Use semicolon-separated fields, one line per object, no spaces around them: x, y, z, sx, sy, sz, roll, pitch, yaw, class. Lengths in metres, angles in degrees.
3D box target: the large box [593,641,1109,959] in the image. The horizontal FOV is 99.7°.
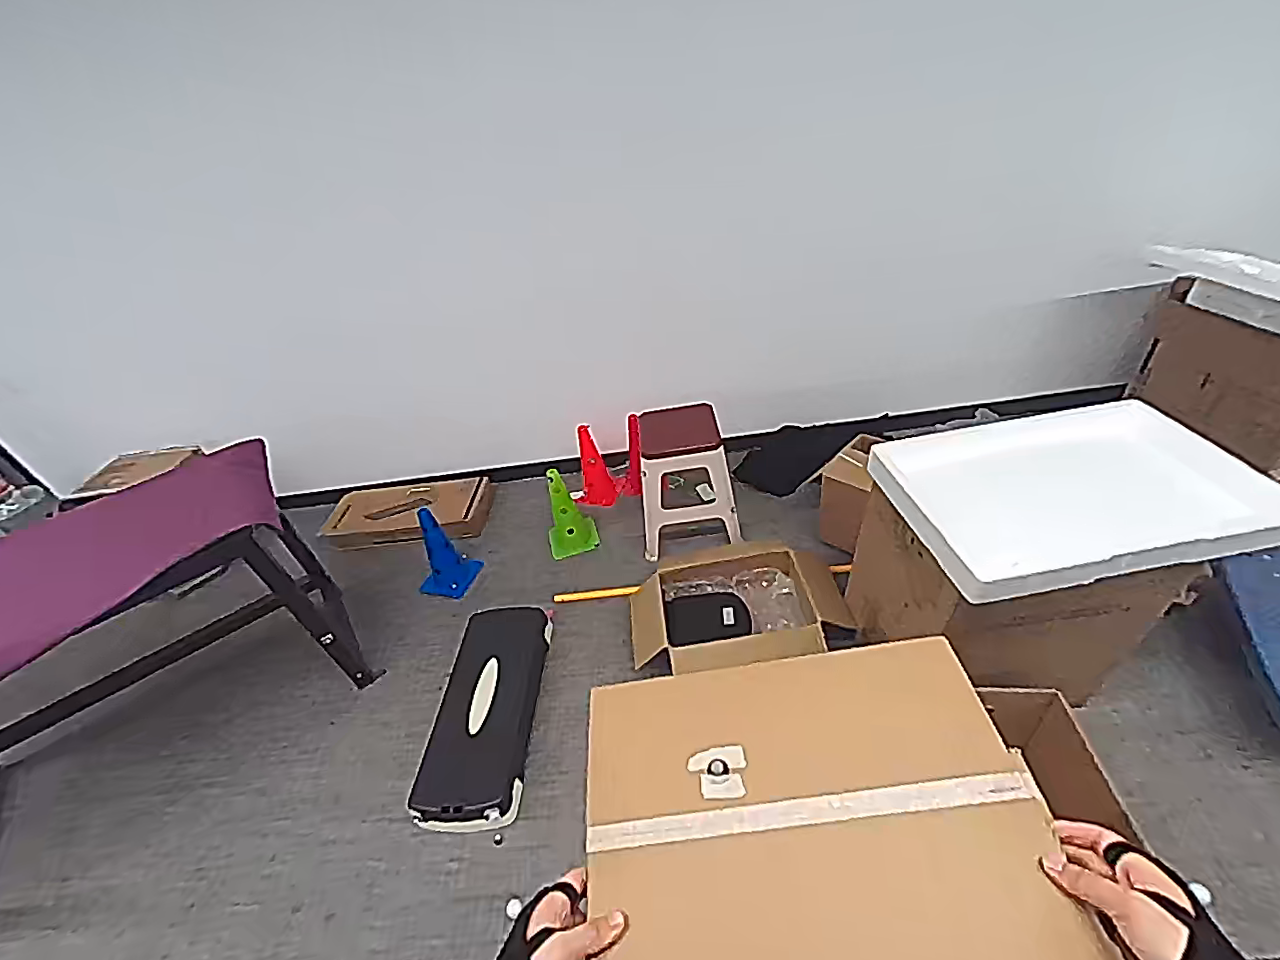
0.183;0.428;0.605;0.408;0.320;0.320;-12;39;7;large box
